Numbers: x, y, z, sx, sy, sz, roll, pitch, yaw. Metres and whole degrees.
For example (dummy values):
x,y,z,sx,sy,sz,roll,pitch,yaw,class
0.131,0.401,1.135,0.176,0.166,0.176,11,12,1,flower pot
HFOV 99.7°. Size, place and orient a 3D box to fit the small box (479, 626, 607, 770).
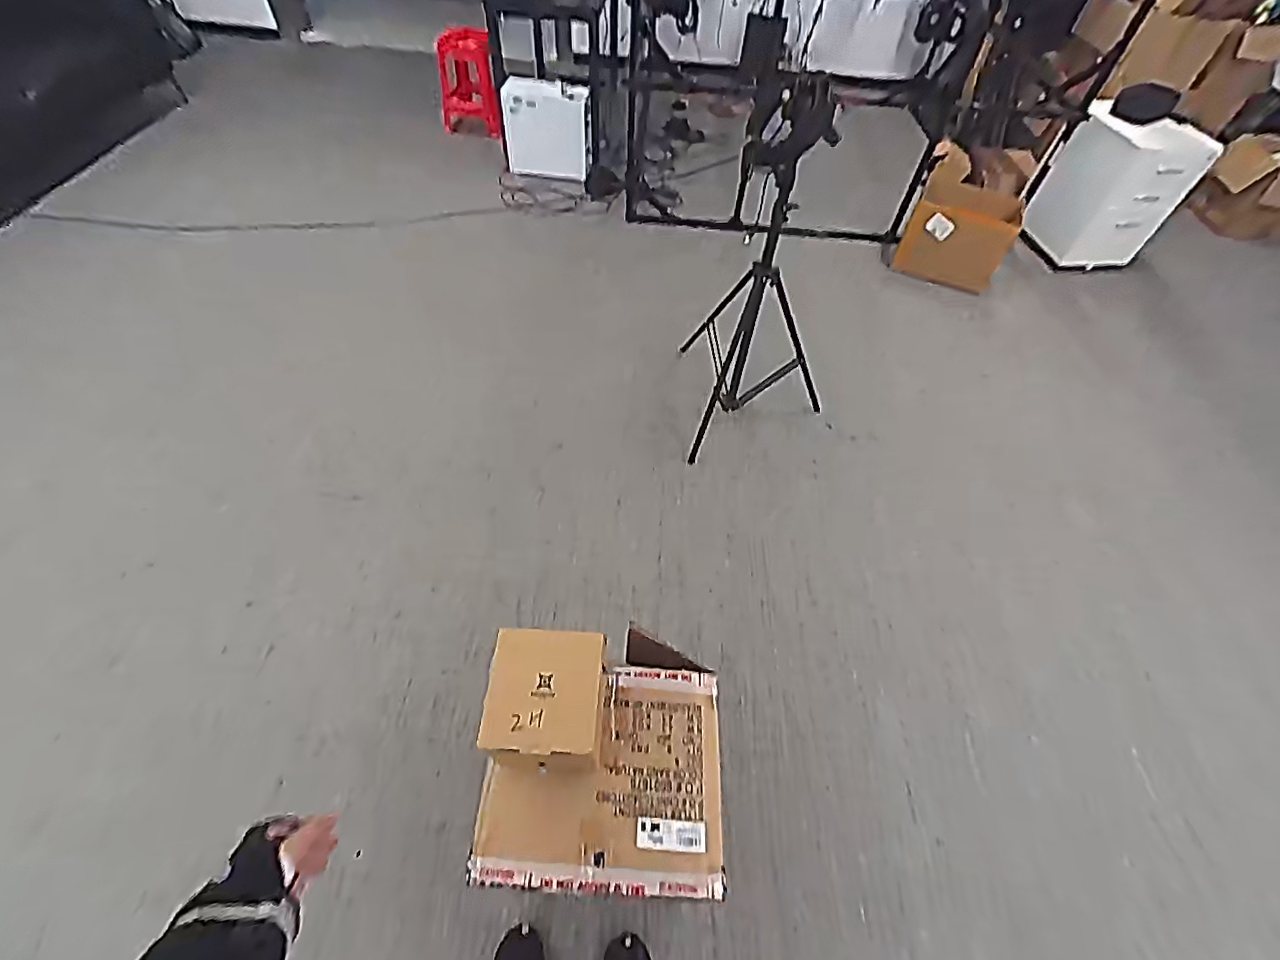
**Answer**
x,y,z,sx,sy,sz,roll,pitch,yaw,class
-0.142,0.351,0.865,0.168,0.176,0.179,3,56,1,small box
